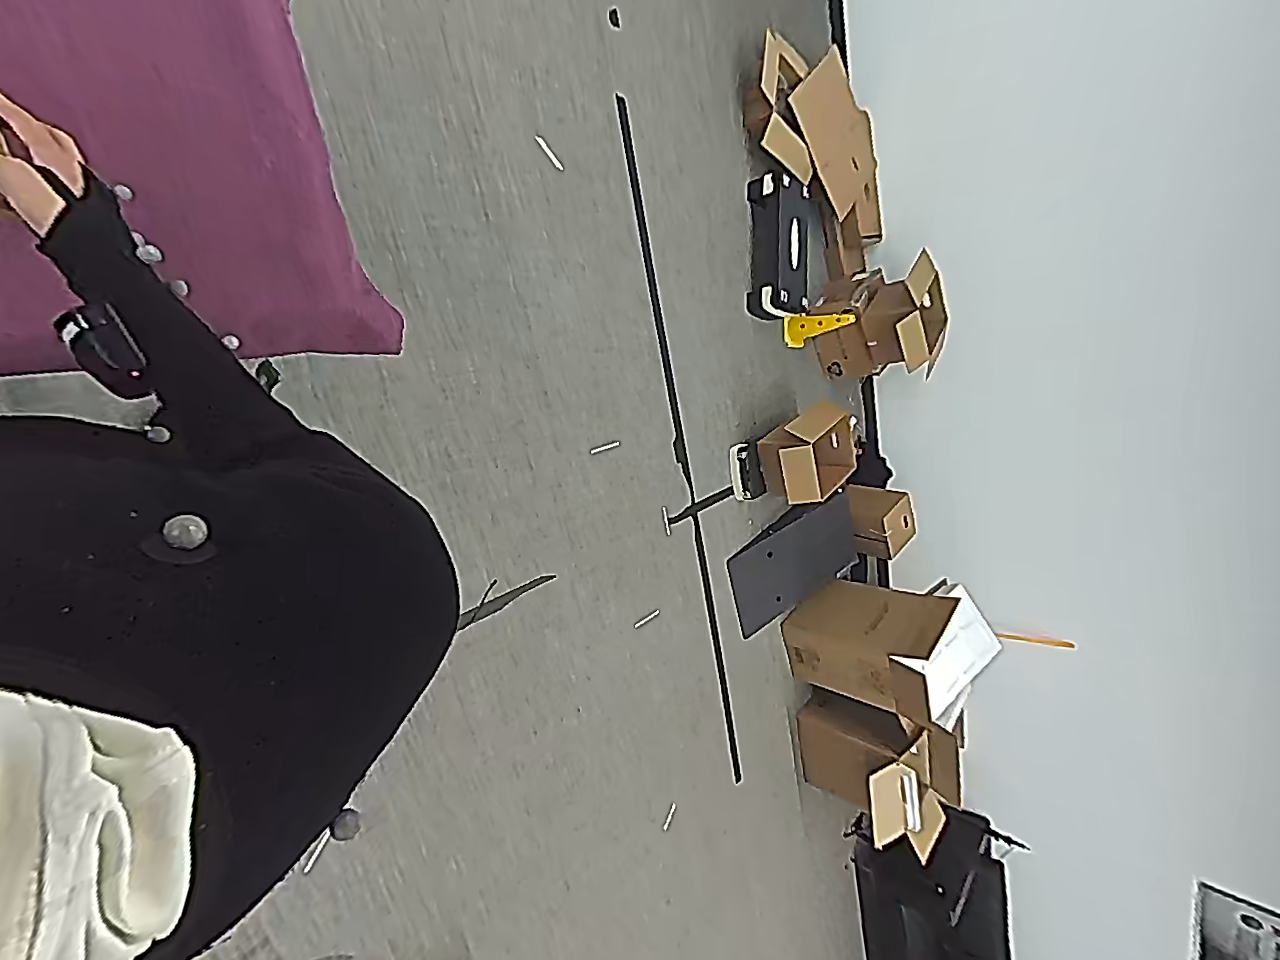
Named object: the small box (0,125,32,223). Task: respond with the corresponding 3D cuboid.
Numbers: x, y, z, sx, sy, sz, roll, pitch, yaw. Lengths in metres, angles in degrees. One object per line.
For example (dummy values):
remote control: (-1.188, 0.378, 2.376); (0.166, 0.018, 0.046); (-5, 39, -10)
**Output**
small box: (-0.647, -0.310, 0.431); (0.179, 0.176, 0.168); (-21, 112, -40)
